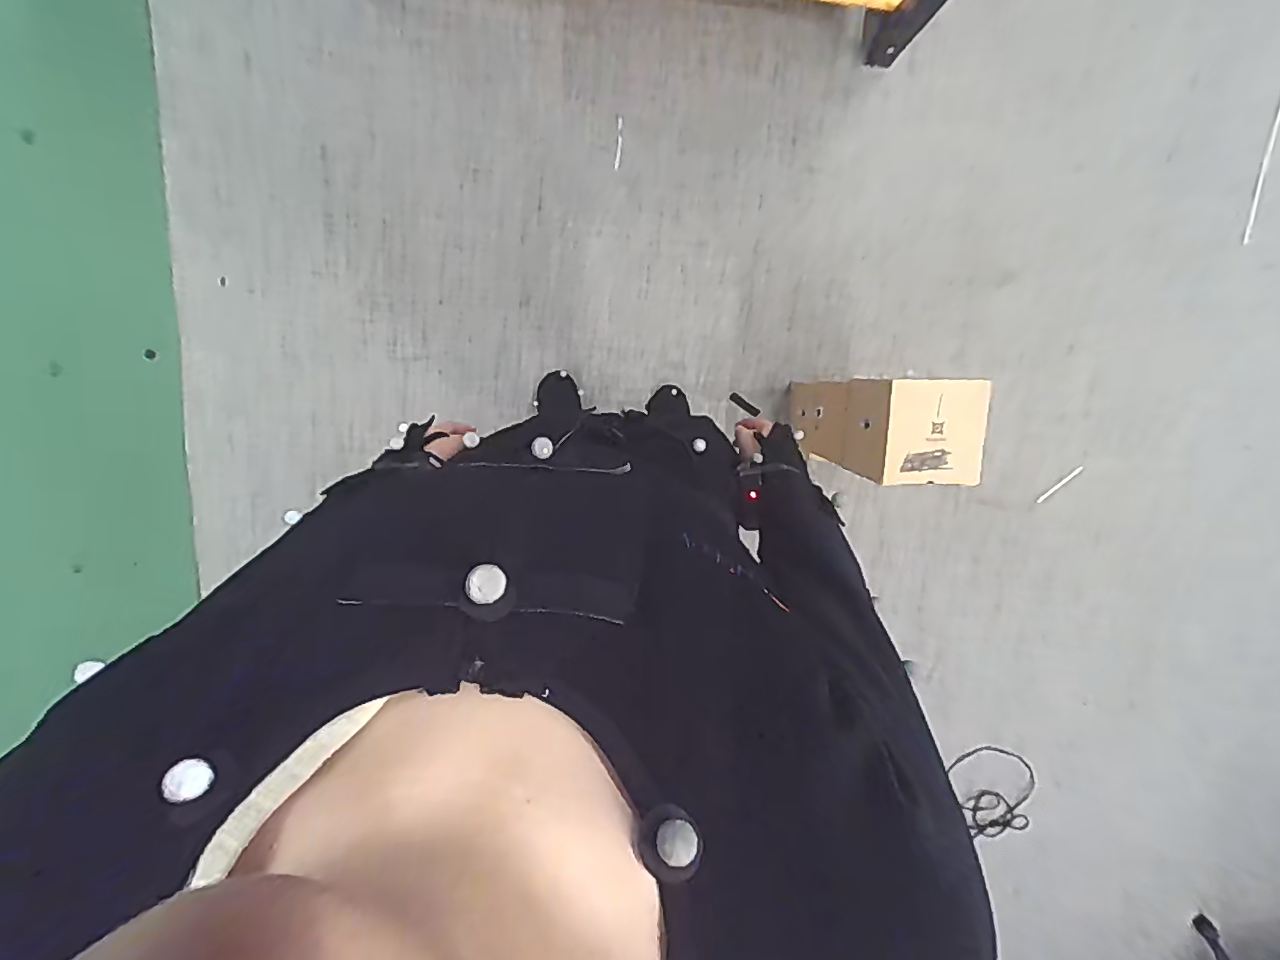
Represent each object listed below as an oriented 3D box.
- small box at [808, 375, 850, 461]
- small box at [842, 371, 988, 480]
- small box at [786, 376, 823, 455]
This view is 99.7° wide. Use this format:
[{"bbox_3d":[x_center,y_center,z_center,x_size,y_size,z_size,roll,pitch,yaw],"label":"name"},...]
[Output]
[{"bbox_3d":[0.467,-0.132,1.120,0.179,0.176,0.168,-1,101,-1],"label":"small box"},{"bbox_3d":[0.473,-0.102,0.958,0.168,0.176,0.179,0,101,-3],"label":"small box"},{"bbox_3d":[0.454,-0.157,1.281,0.168,0.176,0.179,0,102,-3],"label":"small box"}]
